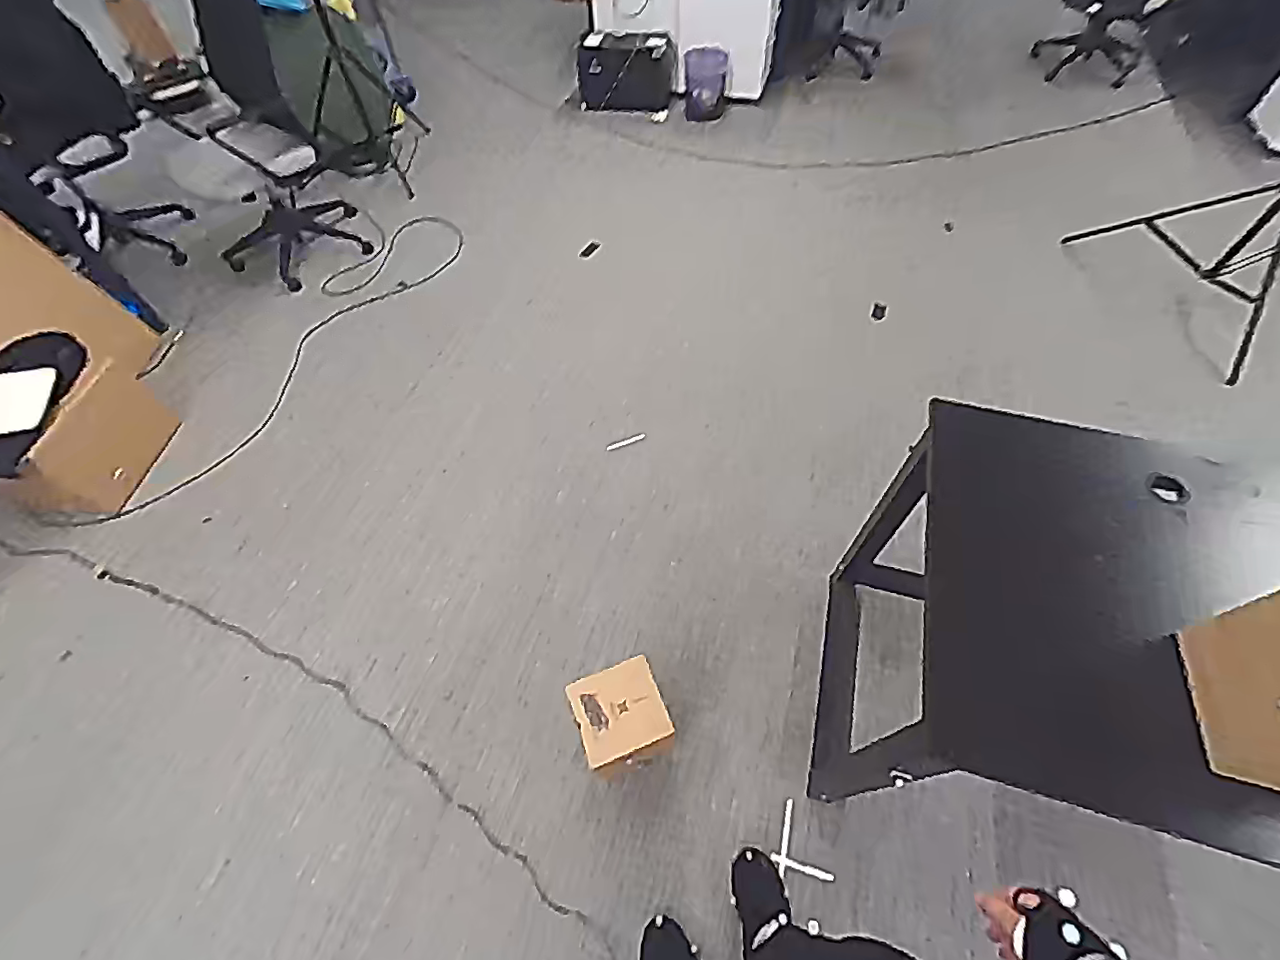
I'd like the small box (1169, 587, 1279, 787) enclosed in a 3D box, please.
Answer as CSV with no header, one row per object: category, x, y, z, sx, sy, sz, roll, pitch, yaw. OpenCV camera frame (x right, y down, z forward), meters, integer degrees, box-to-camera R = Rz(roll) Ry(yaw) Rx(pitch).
small box,0.762,0.250,0.606,0.168,0.176,0.179,13,56,10

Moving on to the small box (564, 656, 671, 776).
small box,-0.044,0.503,1.144,0.179,0.176,0.168,-19,57,-11
